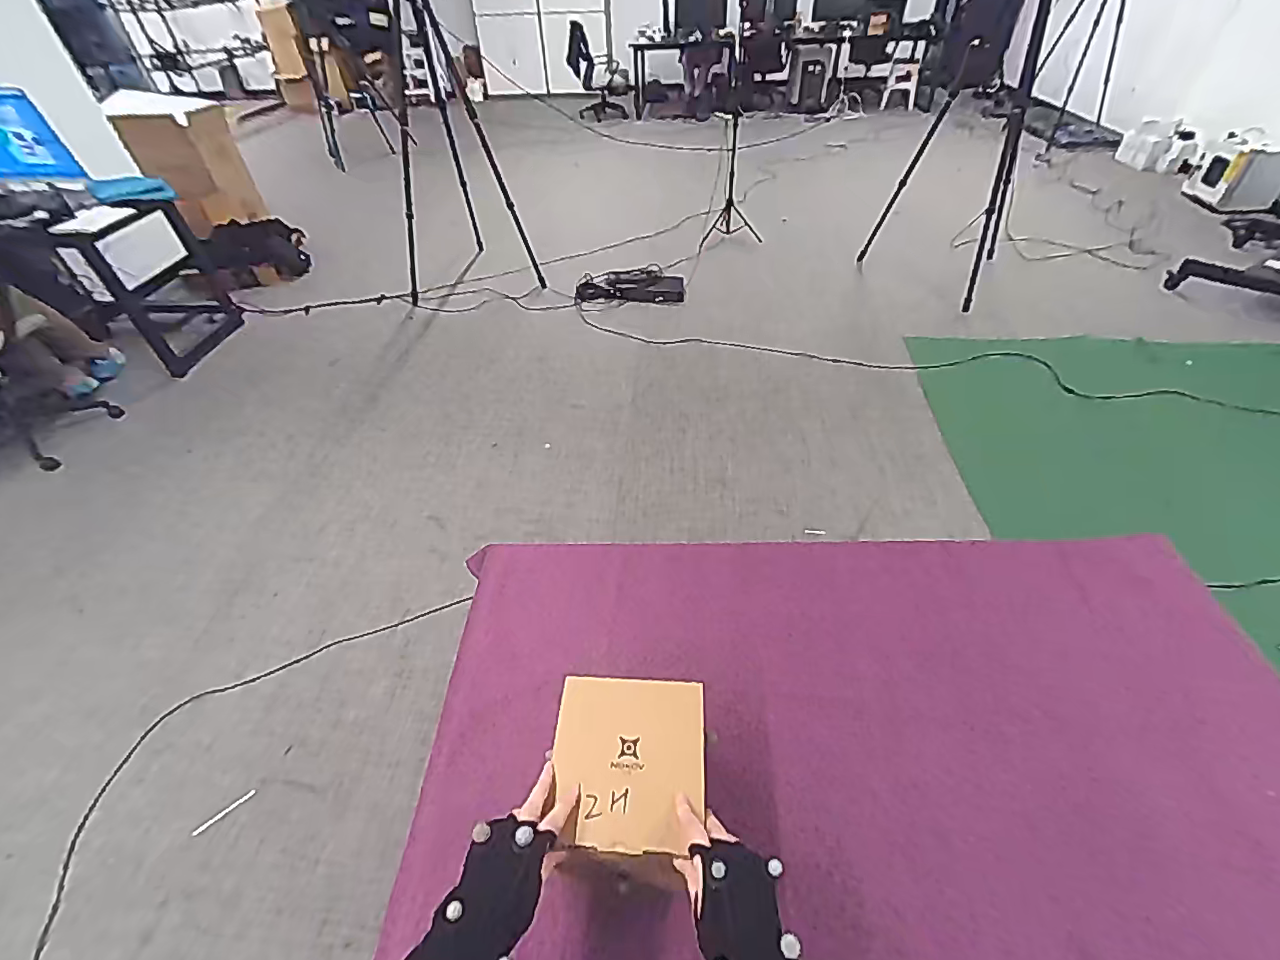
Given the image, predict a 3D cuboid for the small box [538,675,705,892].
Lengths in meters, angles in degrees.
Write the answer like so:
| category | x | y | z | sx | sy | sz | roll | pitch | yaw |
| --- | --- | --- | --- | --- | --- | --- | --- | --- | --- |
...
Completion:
| category | x | y | z | sx | sy | sz | roll | pitch | yaw |
| --- | --- | --- | --- | --- | --- | --- | --- | --- | --- |
| small box | -0.011 | 0.354 | 0.636 | 0.168 | 0.176 | 0.179 | 1 | 44 | 5 |
